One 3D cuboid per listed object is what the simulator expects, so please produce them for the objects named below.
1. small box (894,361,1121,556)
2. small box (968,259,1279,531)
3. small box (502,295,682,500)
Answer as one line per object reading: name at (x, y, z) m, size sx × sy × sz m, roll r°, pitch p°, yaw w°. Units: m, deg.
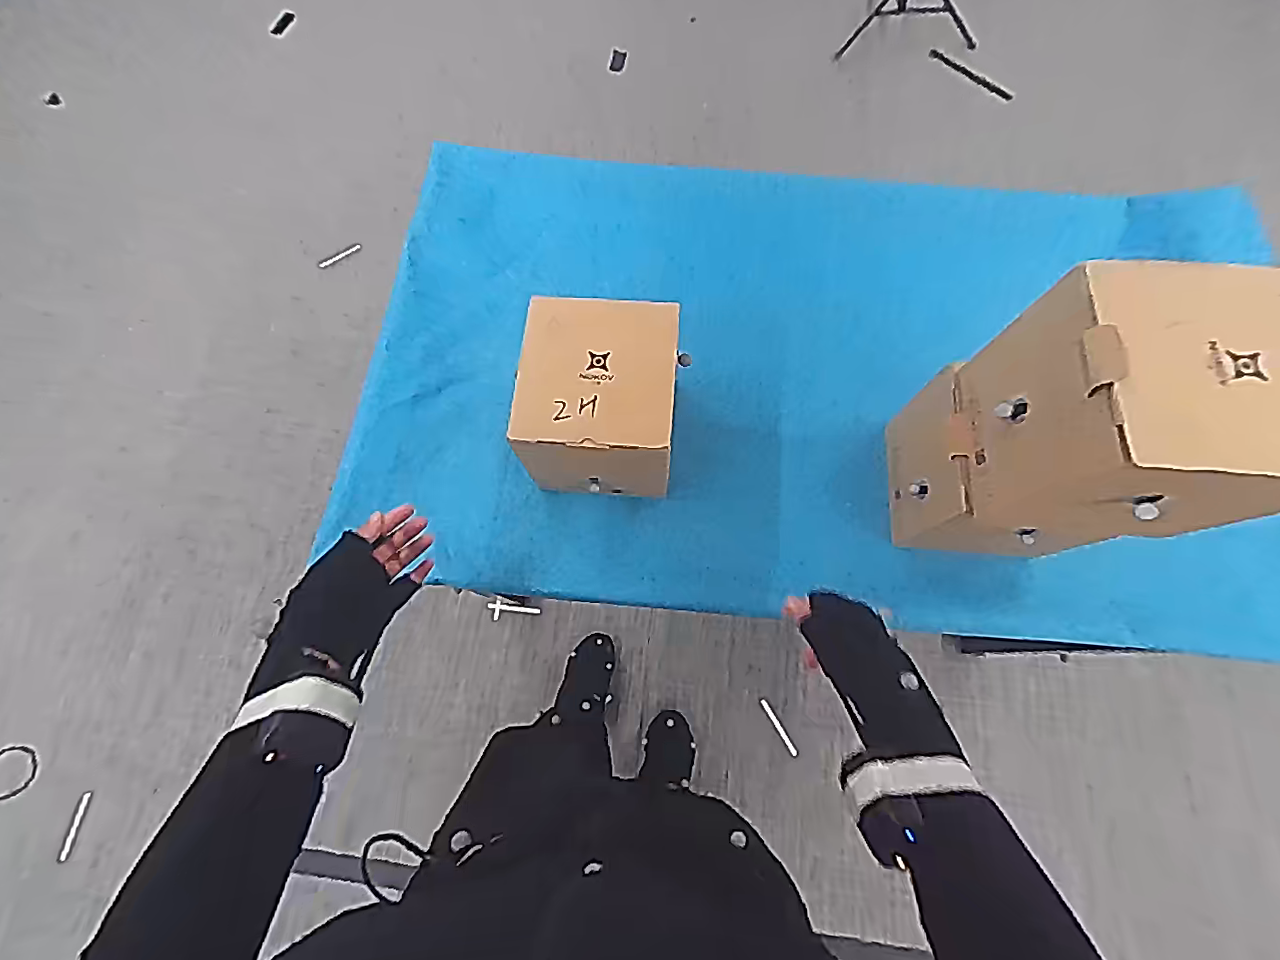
small box at (0.398, -0.014, 0.602) m, size 0.179 × 0.176 × 0.168 m, roll 5°, pitch 73°, yaw 3°
small box at (0.400, -0.056, 0.445) m, size 0.179 × 0.176 × 0.168 m, roll 2°, pitch 72°, yaw 1°
small box at (-0.045, -0.088, 0.640) m, size 0.168 × 0.176 × 0.179 m, roll 7°, pitch 75°, yaw 5°
